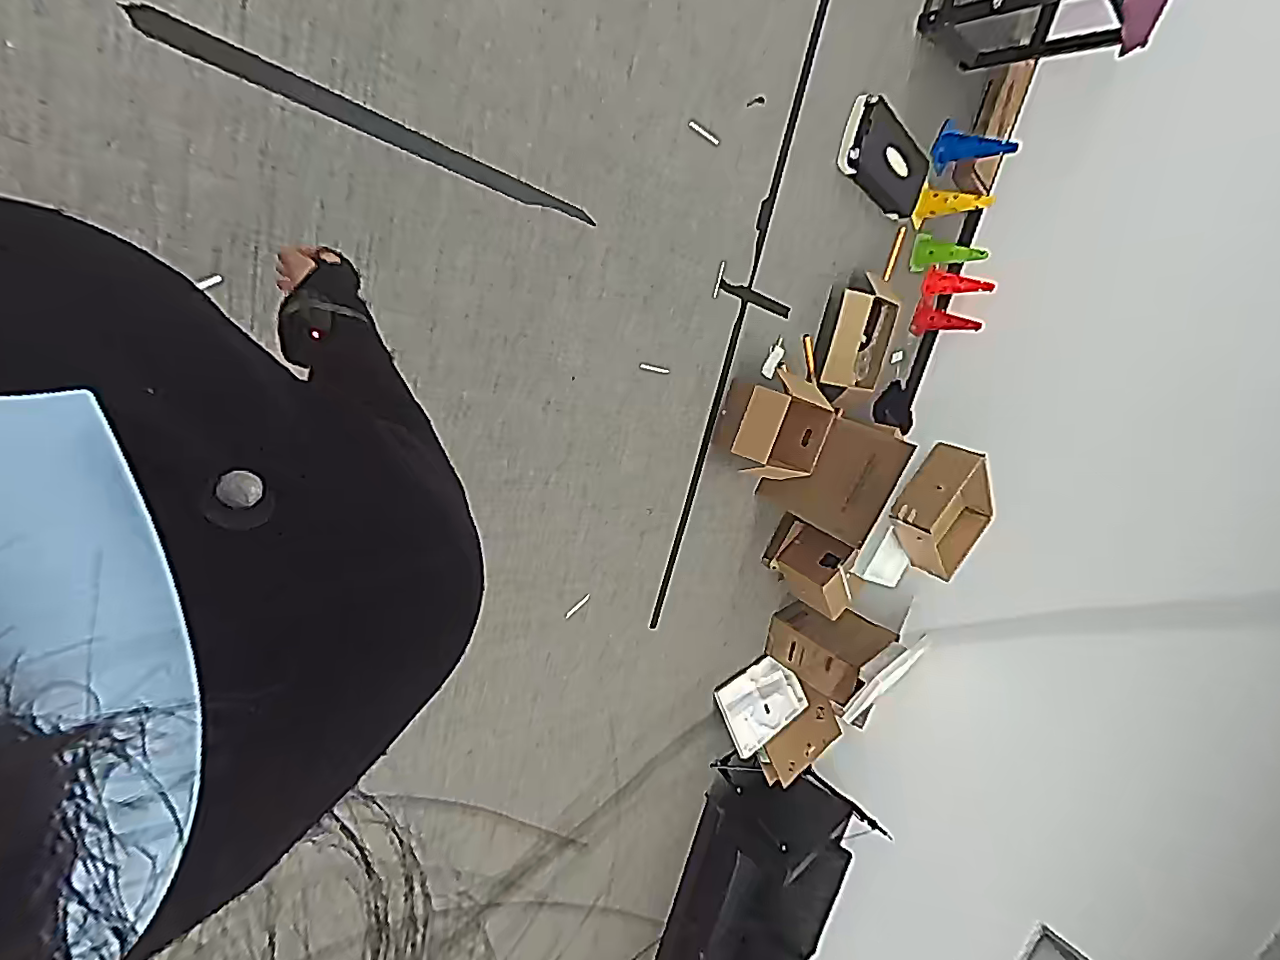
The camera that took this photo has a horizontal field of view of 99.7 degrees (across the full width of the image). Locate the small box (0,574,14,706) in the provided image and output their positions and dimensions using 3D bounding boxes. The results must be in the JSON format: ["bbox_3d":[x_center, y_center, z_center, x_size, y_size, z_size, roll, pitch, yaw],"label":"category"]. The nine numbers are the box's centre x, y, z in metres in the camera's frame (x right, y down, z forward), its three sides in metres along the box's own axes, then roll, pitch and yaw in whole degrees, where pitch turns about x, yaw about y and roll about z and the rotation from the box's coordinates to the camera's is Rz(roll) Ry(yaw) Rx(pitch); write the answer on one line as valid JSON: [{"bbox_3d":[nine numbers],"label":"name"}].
[{"bbox_3d":[-1.143,0.272,0.871,0.168,0.176,0.179,1,109,-45],"label":"small box"}]
